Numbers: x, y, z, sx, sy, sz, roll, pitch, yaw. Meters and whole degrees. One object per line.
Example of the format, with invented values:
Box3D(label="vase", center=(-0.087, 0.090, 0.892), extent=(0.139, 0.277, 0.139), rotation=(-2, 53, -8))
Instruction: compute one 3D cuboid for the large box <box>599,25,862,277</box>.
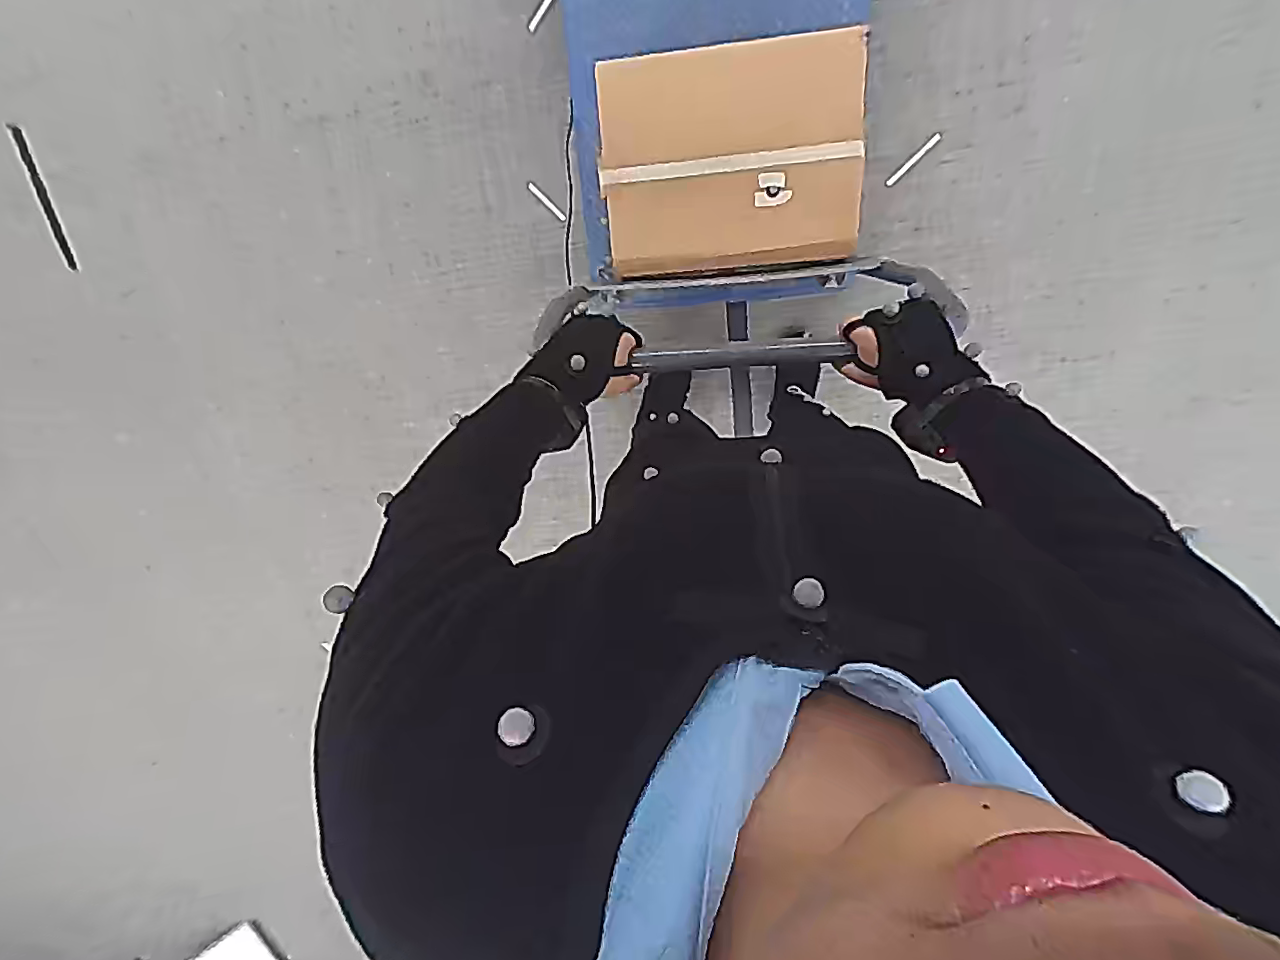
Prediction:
Box3D(label="large box", center=(0.158, -0.564, 1.007), extent=(0.408, 0.320, 0.320), rotation=(-3, 111, 7))
